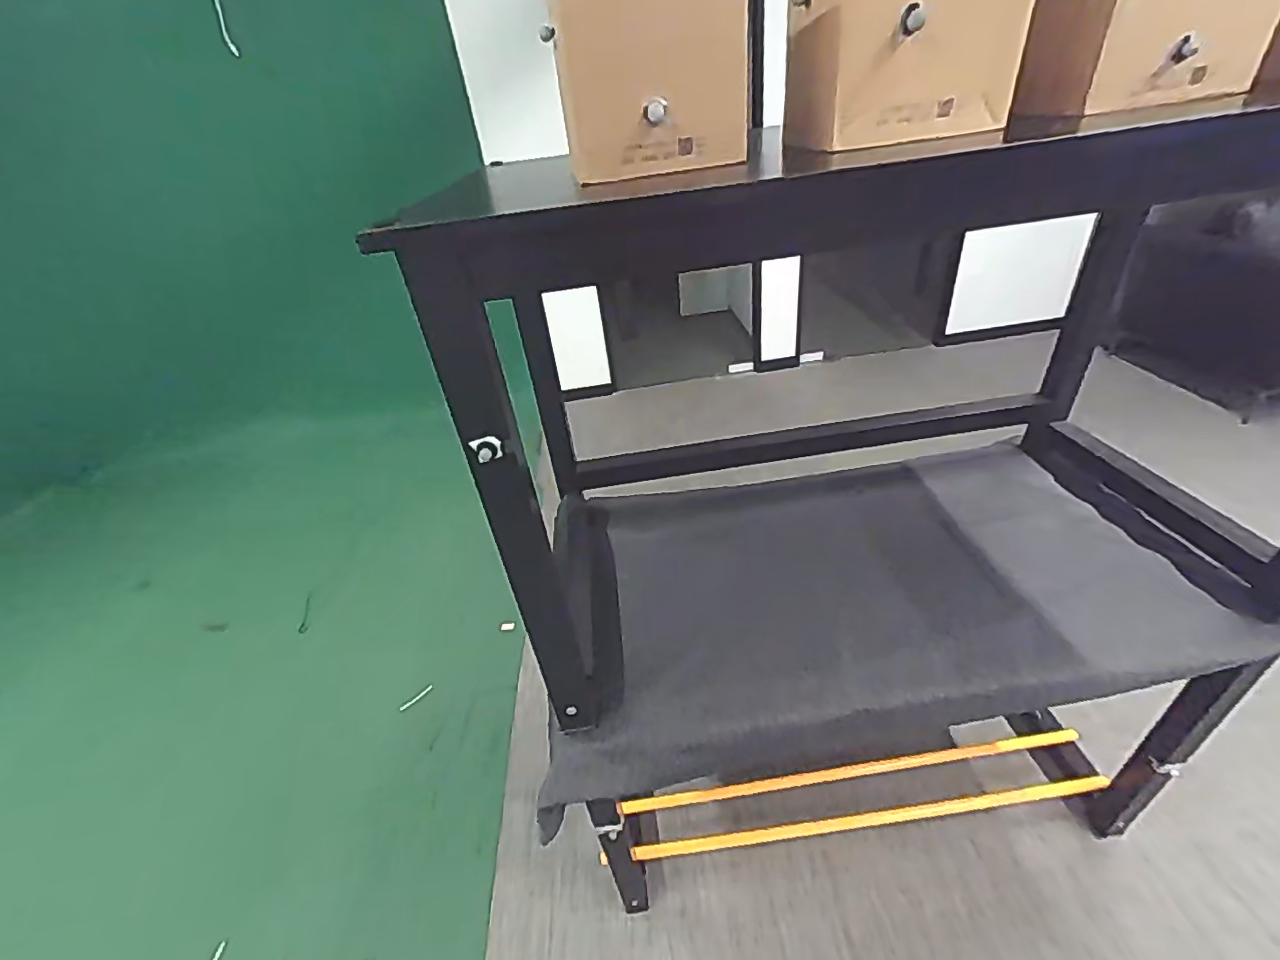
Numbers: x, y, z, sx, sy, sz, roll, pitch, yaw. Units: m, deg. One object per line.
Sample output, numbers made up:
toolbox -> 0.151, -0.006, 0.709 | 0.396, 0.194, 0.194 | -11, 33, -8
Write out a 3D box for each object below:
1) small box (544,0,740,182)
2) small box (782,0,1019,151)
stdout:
small box -> -0.003, -0.408, 0.544 | 0.168, 0.176, 0.179 | -10, 35, -3
small box -> 0.241, -0.430, 0.527 | 0.168, 0.176, 0.179 | -7, 34, 2
